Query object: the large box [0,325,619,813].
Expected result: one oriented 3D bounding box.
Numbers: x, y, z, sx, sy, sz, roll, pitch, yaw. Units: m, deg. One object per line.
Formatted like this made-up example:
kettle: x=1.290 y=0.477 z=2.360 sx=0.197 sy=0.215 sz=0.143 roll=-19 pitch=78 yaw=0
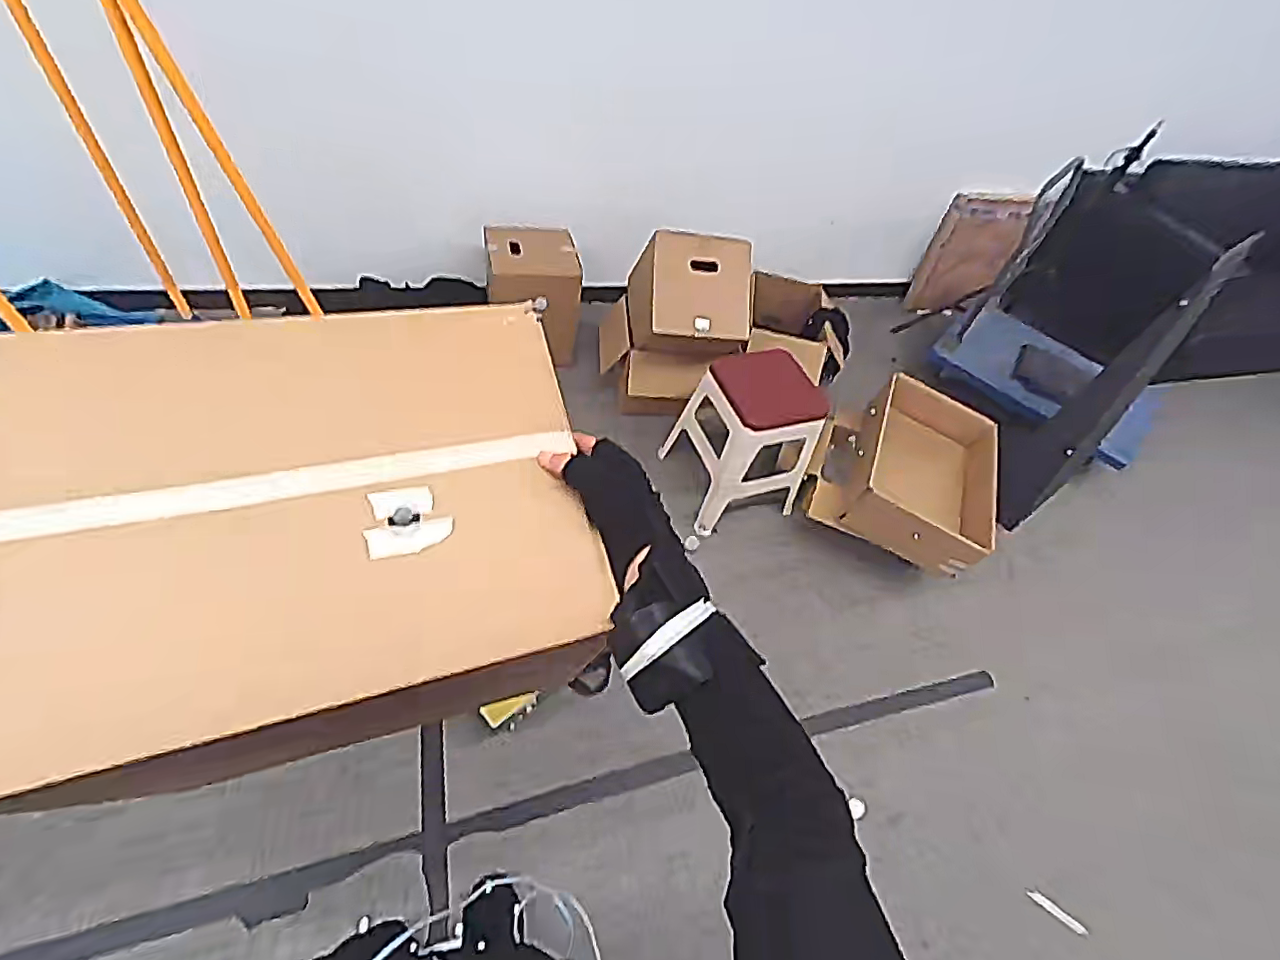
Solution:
large box: x=-0.277 y=0.081 z=0.537 sx=0.408 sy=0.320 sz=0.320 roll=-10 pitch=67 yaw=-20
